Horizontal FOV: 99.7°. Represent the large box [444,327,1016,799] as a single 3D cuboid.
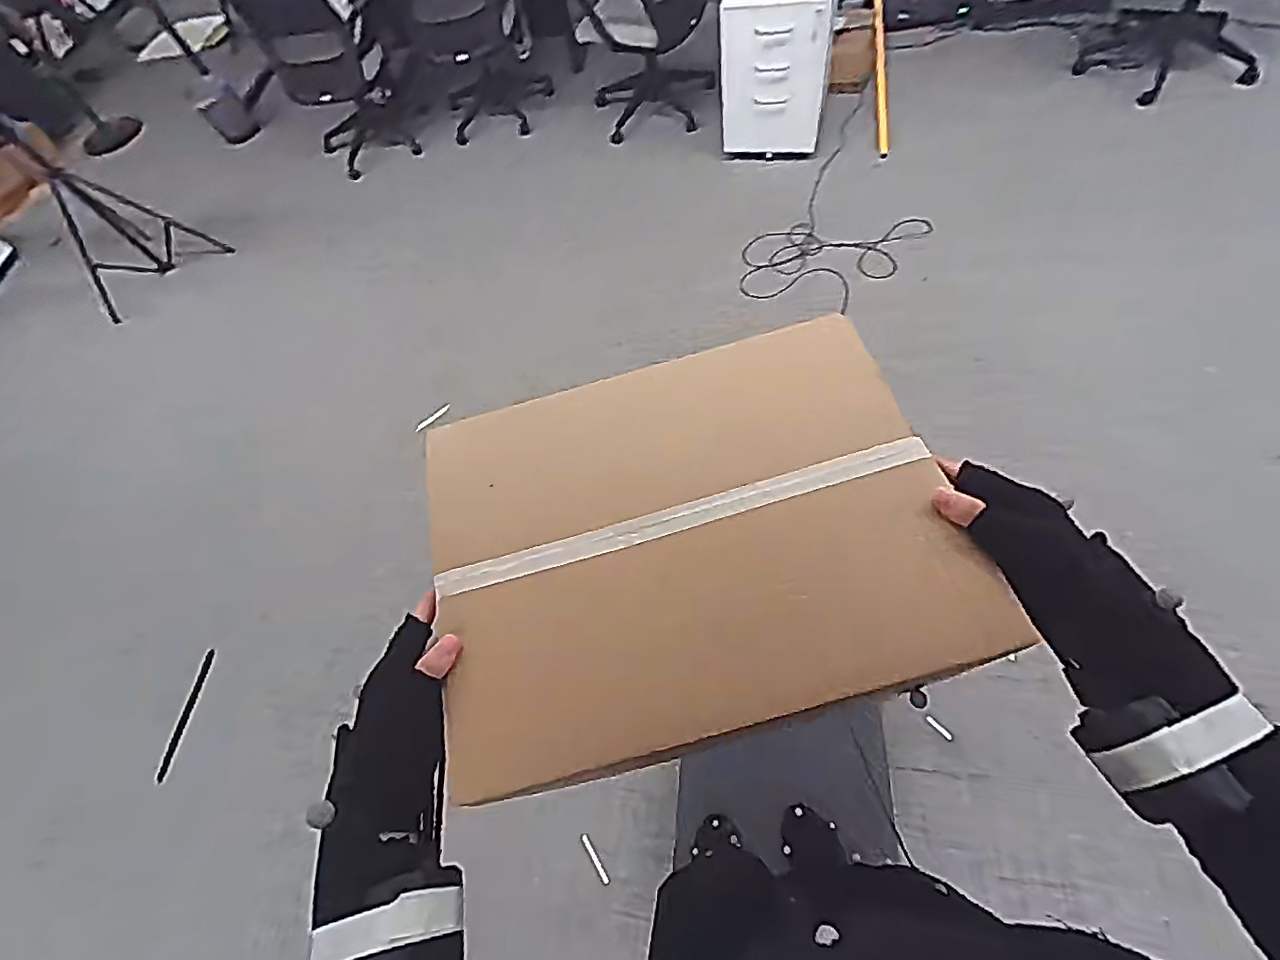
[{"bbox_3d":[0.060,0.104,0.575,0.408,0.320,0.320,-16,61,1],"label":"large box"}]
